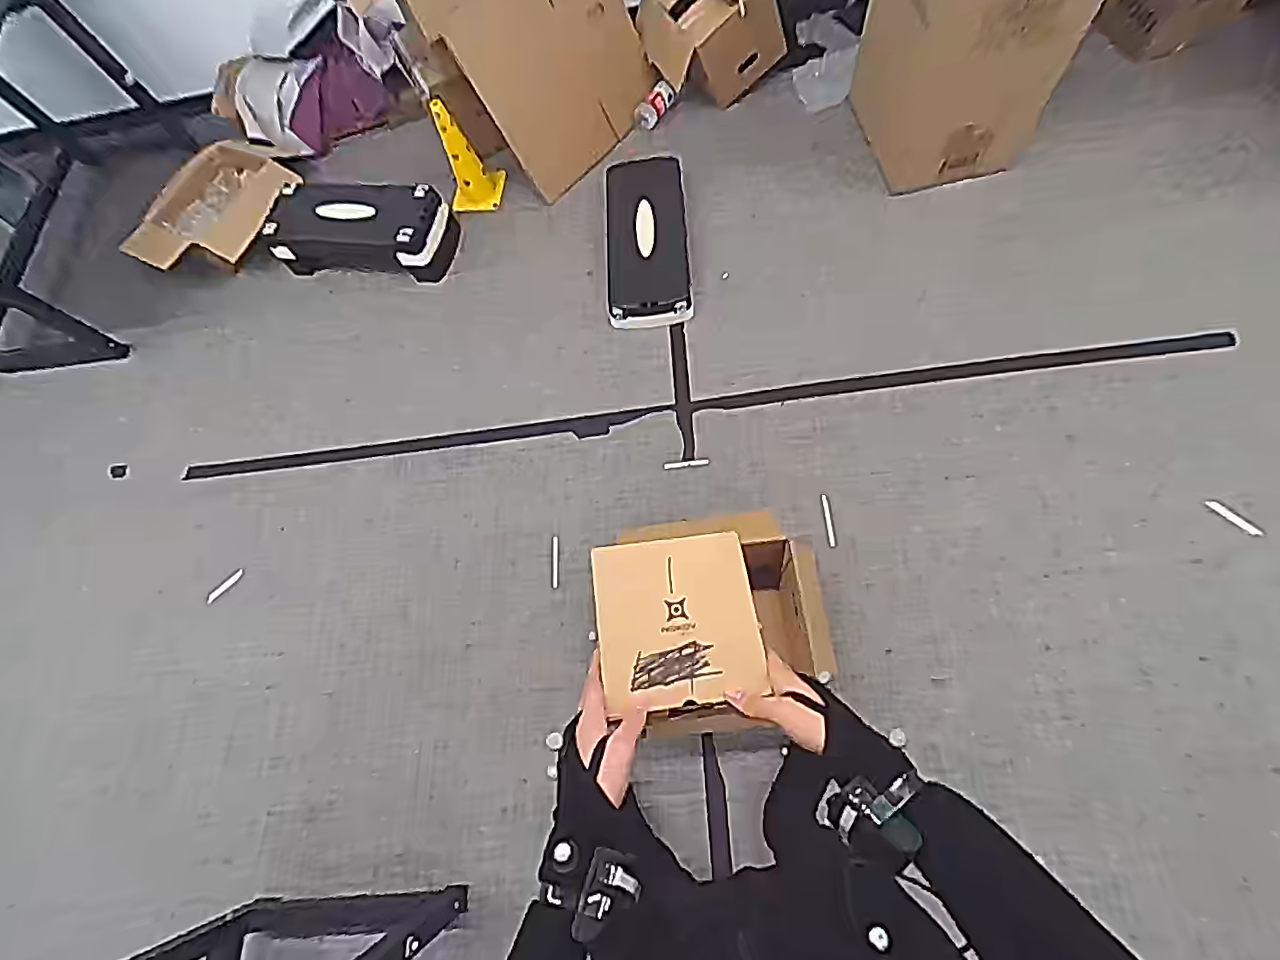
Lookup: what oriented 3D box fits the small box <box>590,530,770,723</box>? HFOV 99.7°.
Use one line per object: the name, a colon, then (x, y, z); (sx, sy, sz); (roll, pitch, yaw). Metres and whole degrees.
small box: (0.037, 0.175, 0.620); (0.168, 0.176, 0.179); (-6, 62, -3)
